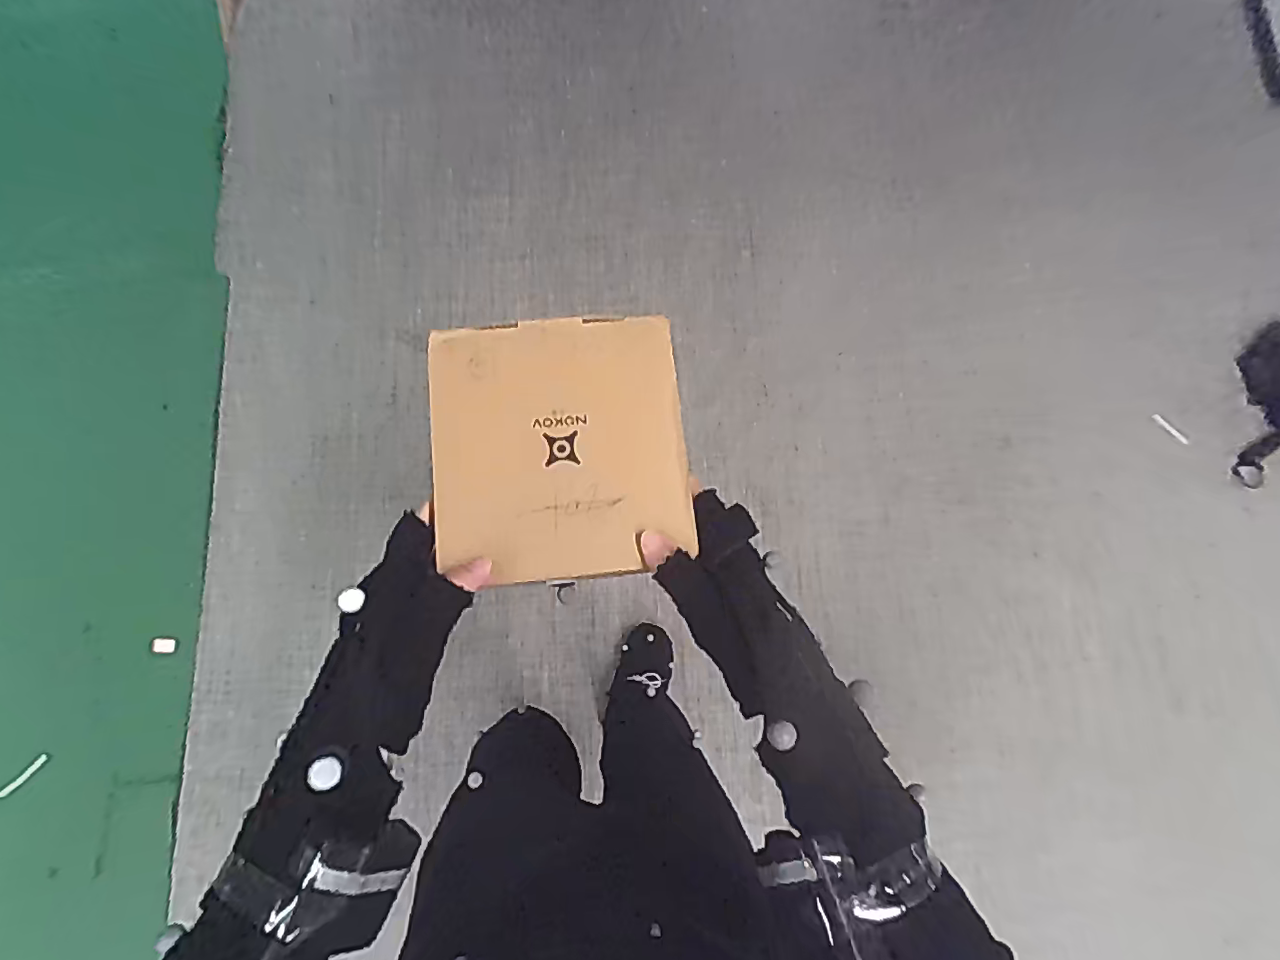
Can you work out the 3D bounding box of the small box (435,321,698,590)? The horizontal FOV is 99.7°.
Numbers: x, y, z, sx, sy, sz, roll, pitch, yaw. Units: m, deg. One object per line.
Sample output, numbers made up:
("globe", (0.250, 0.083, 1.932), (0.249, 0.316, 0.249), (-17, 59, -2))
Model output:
("small box", (-0.058, -0.007, 0.443), (0.168, 0.176, 0.179), (-7, 80, -6))
